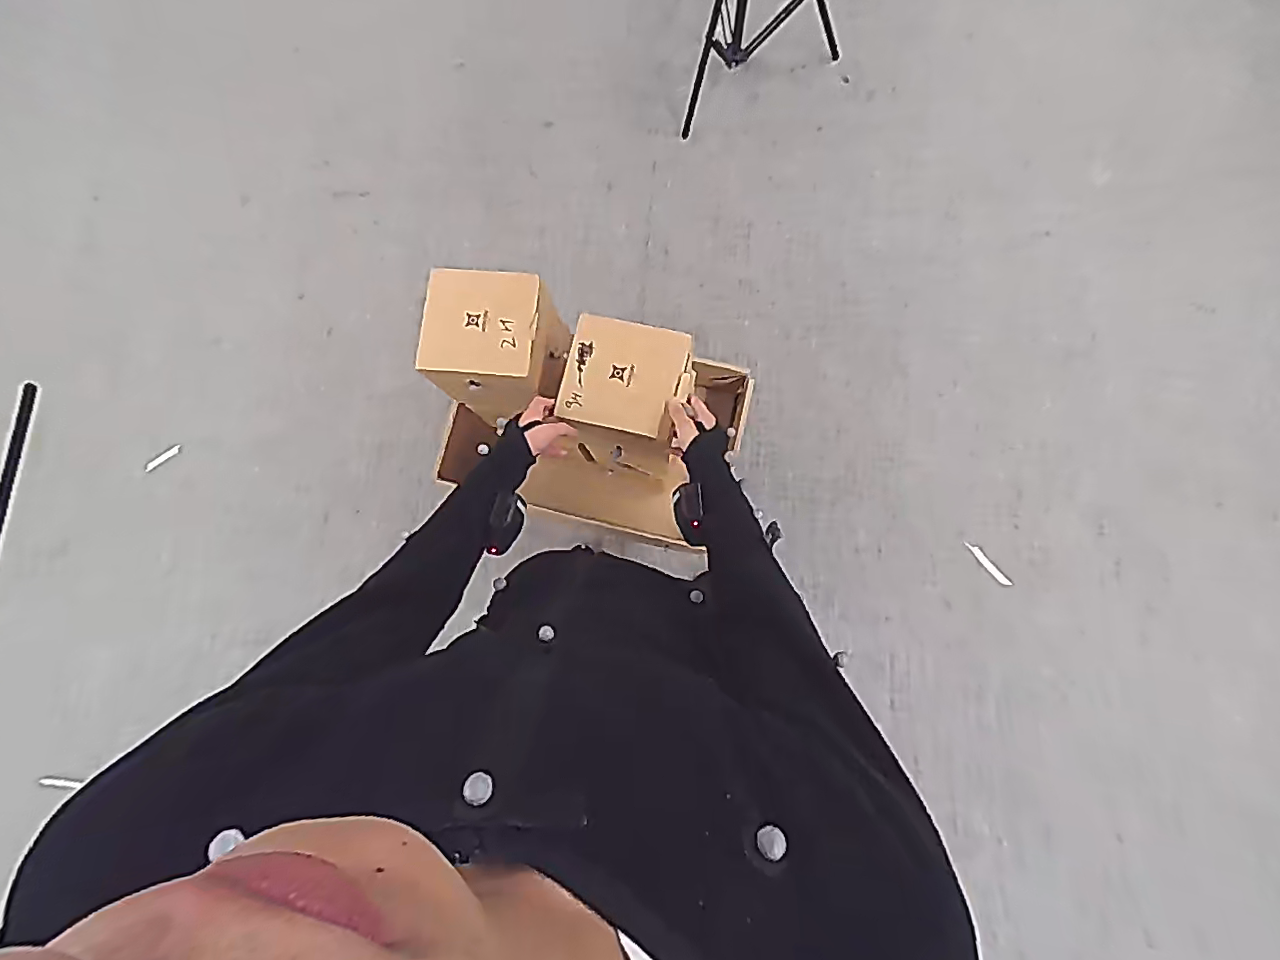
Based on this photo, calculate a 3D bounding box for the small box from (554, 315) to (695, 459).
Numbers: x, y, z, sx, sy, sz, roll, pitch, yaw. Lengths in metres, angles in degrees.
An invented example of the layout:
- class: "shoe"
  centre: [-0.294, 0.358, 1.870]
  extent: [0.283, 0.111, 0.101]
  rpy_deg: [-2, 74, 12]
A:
- class: "small box"
  centre: [-0.019, -0.137, 0.865]
  extent: [0.179, 0.176, 0.168]
  rpy_deg: [13, 82, 5]

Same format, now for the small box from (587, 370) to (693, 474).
- class: "small box"
  centre: [-0.001, -0.122, 1.028]
  extent: [0.168, 0.176, 0.179]
  rpy_deg: [17, 82, 6]
